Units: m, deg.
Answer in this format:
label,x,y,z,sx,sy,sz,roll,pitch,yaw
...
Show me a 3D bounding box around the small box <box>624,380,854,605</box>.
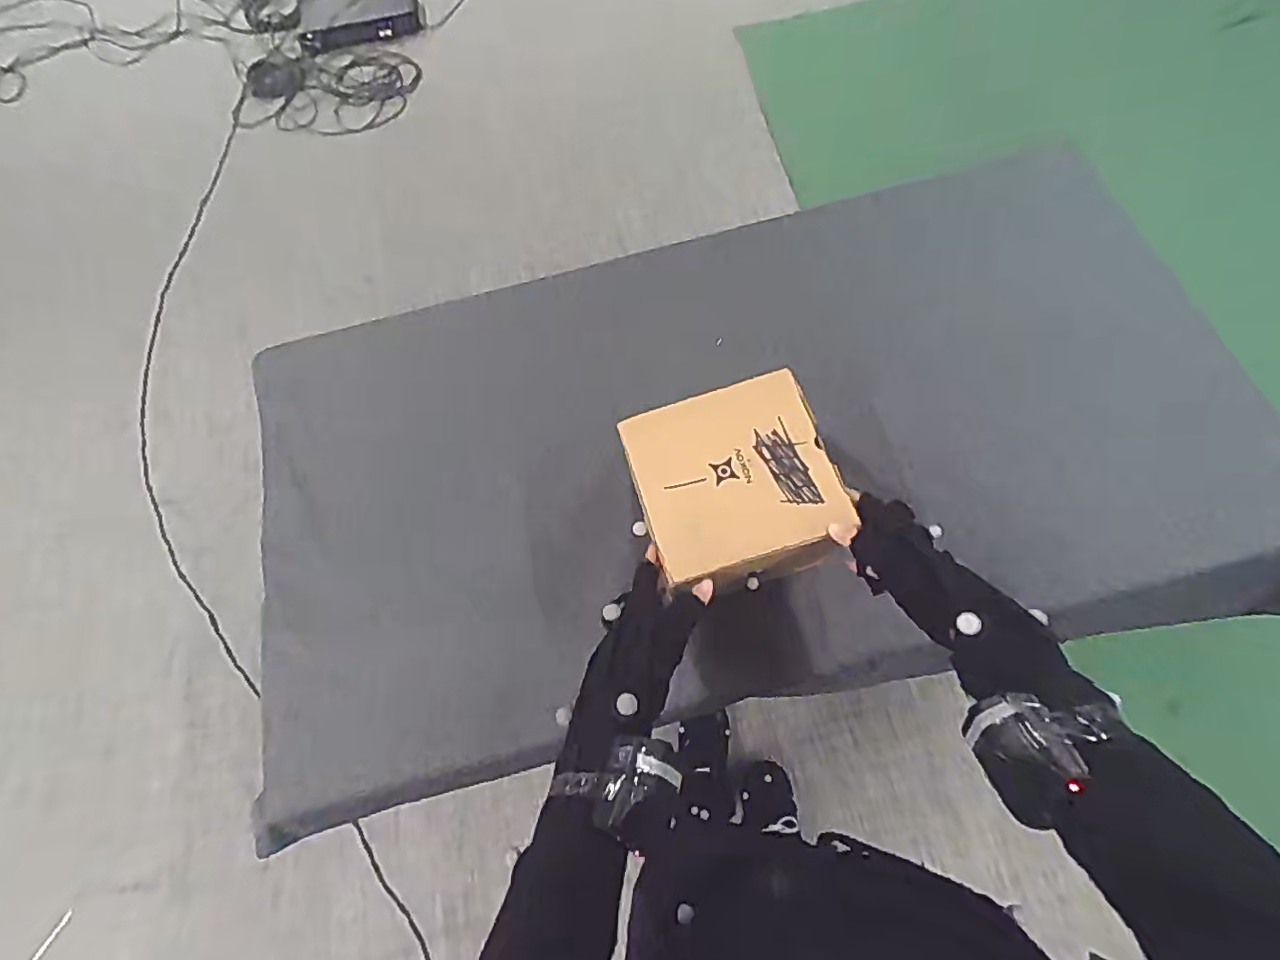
label,x,y,z,sx,sy,sz,roll,pitch,yaw
small box,0.094,0.024,0.579,0.179,0.176,0.168,-17,69,-1
